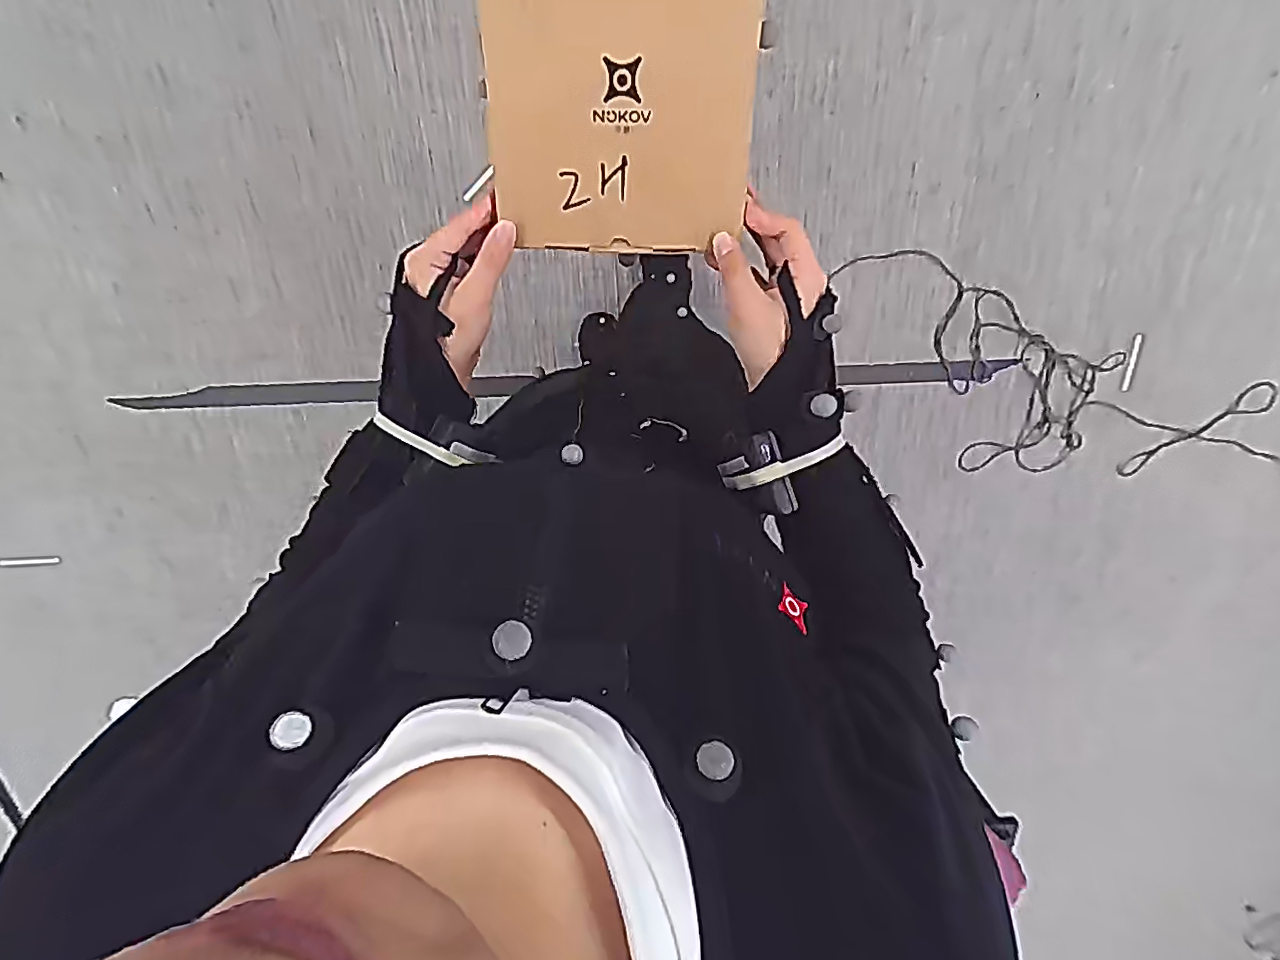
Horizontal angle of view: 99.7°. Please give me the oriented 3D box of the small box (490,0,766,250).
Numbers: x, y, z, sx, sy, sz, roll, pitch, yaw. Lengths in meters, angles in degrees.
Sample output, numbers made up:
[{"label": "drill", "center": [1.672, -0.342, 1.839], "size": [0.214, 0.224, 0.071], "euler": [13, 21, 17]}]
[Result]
[{"label": "small box", "center": [-0.007, -0.273, 0.410], "size": [0.168, 0.176, 0.179], "euler": [2, 115, 1]}]
